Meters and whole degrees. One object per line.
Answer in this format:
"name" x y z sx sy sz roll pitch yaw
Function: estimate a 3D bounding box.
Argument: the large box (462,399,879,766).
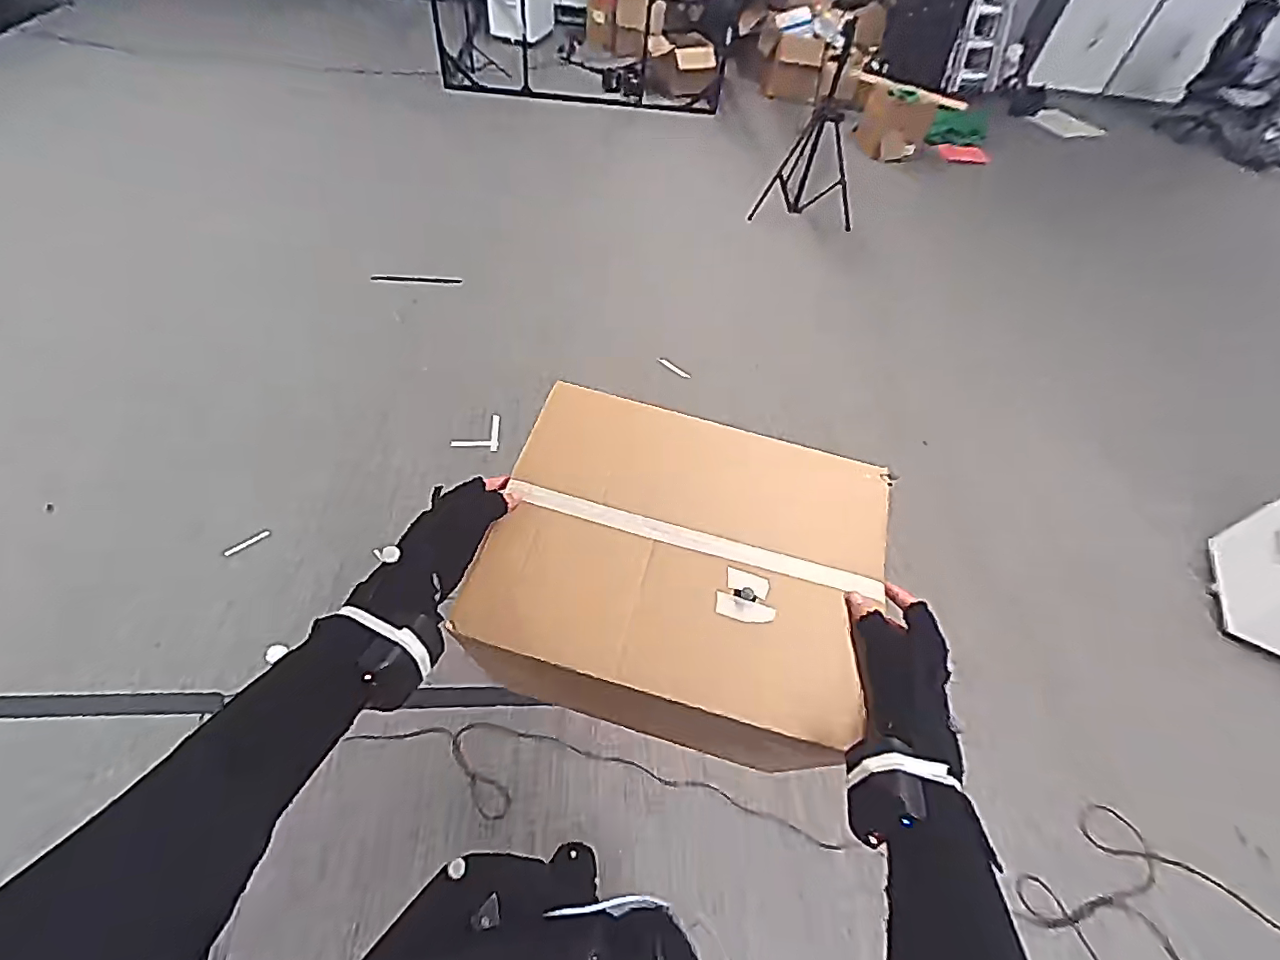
"large box" 0.041 0.148 0.708 0.408 0.320 0.320 16 61 4
